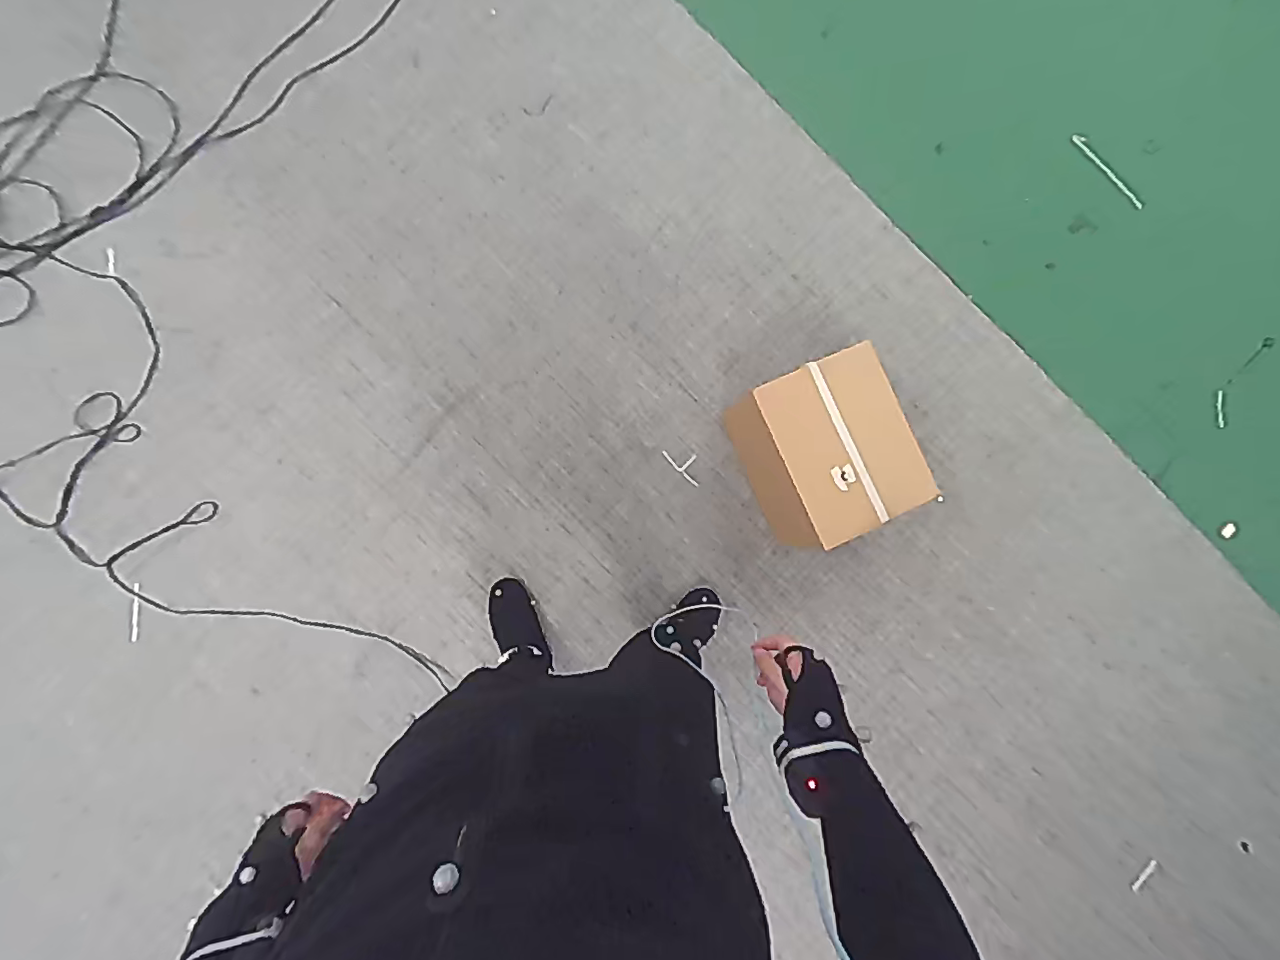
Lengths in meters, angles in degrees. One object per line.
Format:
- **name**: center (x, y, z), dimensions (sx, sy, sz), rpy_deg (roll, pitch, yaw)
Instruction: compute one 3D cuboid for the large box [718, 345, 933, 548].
- **large box**: center (0.451, -0.071, 1.397), dimensions (0.320, 0.320, 0.408), rpy_deg (-24, 88, -7)
